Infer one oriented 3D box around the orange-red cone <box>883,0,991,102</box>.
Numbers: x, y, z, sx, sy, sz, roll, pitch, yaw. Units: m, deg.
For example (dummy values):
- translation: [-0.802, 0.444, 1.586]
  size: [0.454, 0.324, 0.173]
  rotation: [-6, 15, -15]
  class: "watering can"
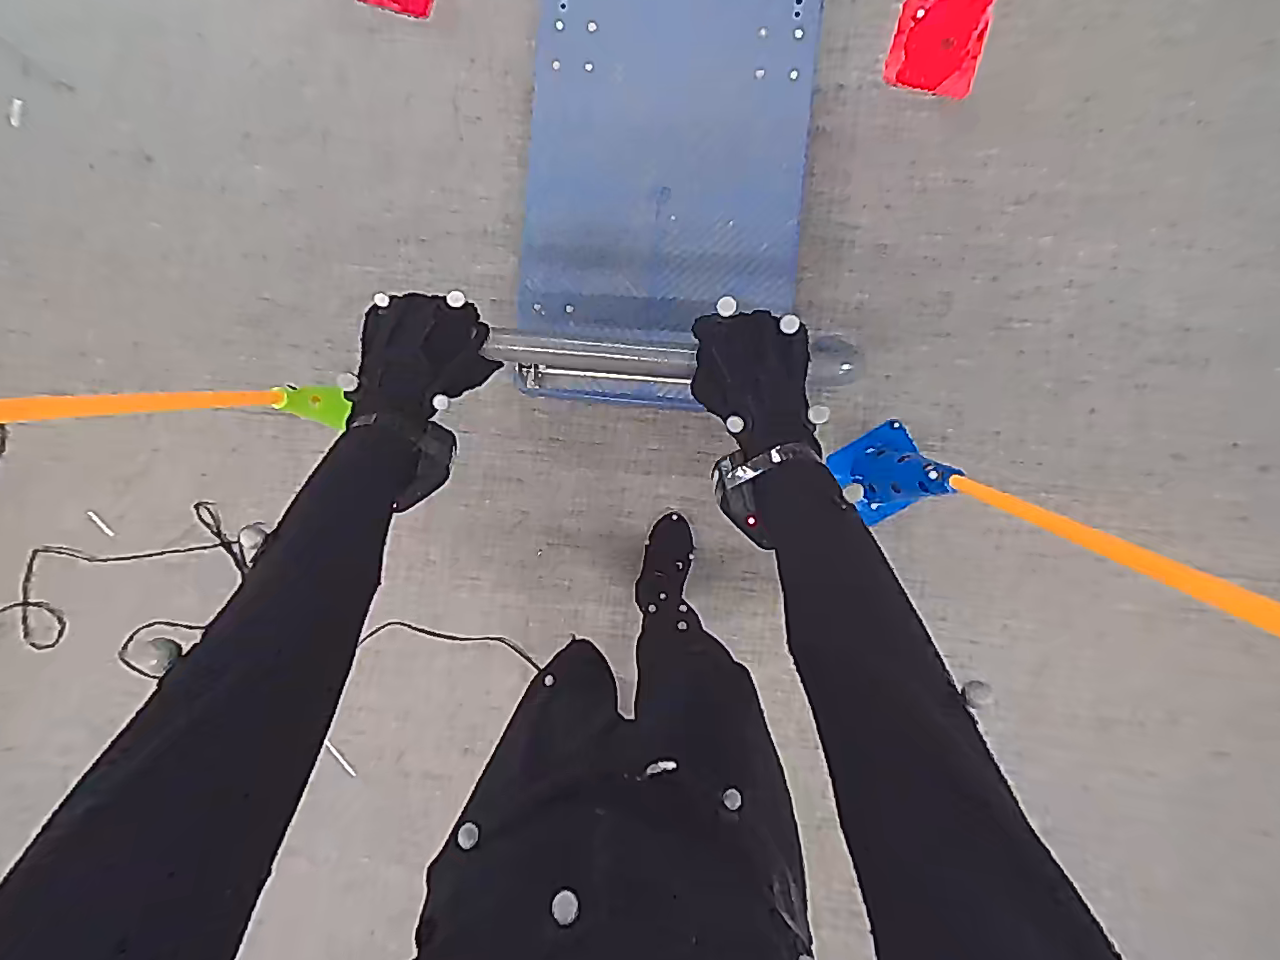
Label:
- translation: [0.664, -0.979, 1.074]
  size: [0.198, 0.360, 0.199]
  rotation: [17, 94, 4]
  class: "orange-red cone"
